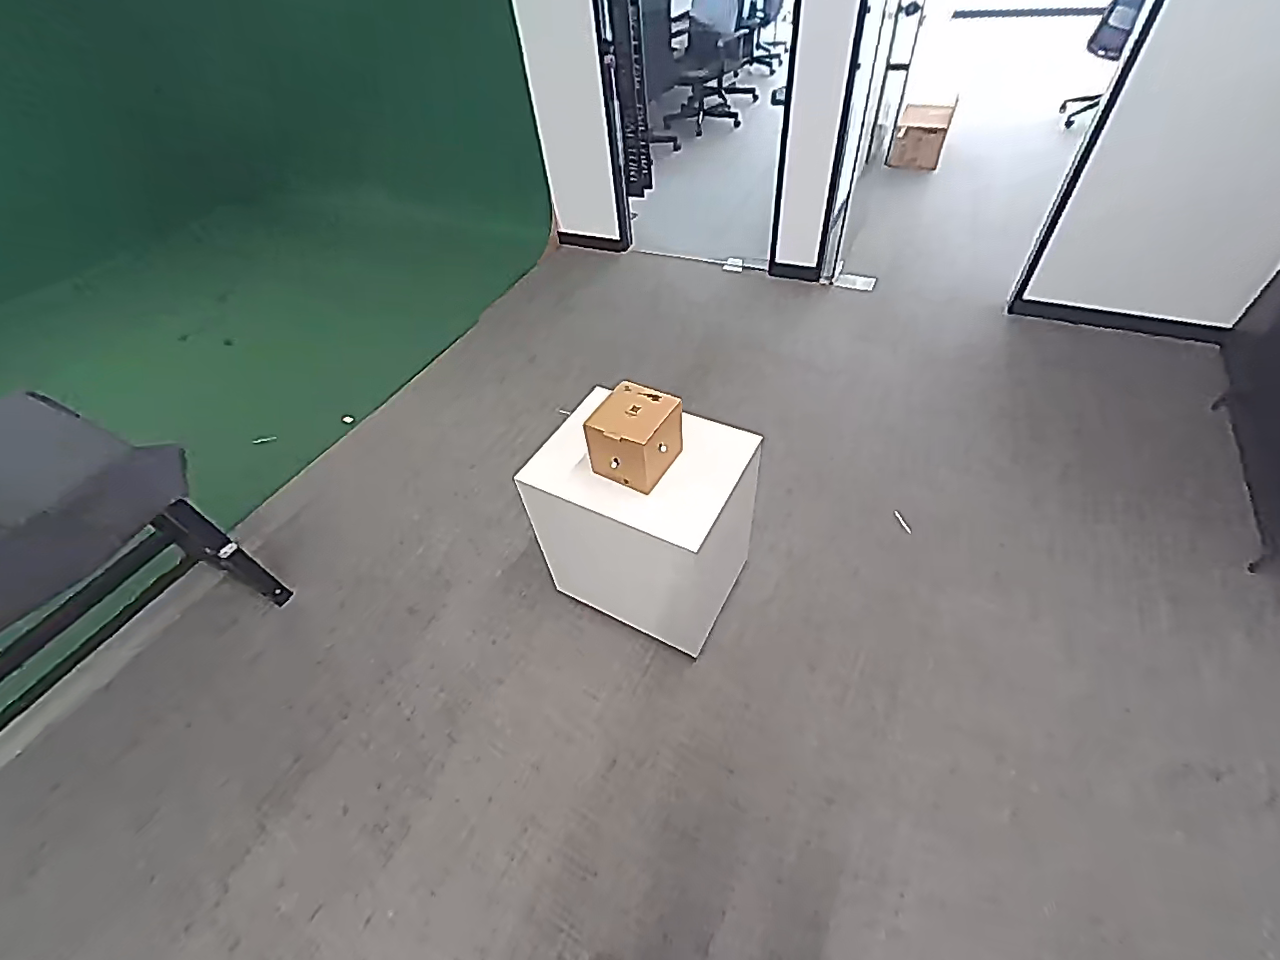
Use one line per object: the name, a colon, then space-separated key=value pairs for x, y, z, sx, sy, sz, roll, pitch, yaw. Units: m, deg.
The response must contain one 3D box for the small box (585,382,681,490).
small box: x=-0.006 y=-0.103 z=1.304 sx=0.168 sy=0.176 sz=0.179 roll=20 pitch=53 yaw=22
